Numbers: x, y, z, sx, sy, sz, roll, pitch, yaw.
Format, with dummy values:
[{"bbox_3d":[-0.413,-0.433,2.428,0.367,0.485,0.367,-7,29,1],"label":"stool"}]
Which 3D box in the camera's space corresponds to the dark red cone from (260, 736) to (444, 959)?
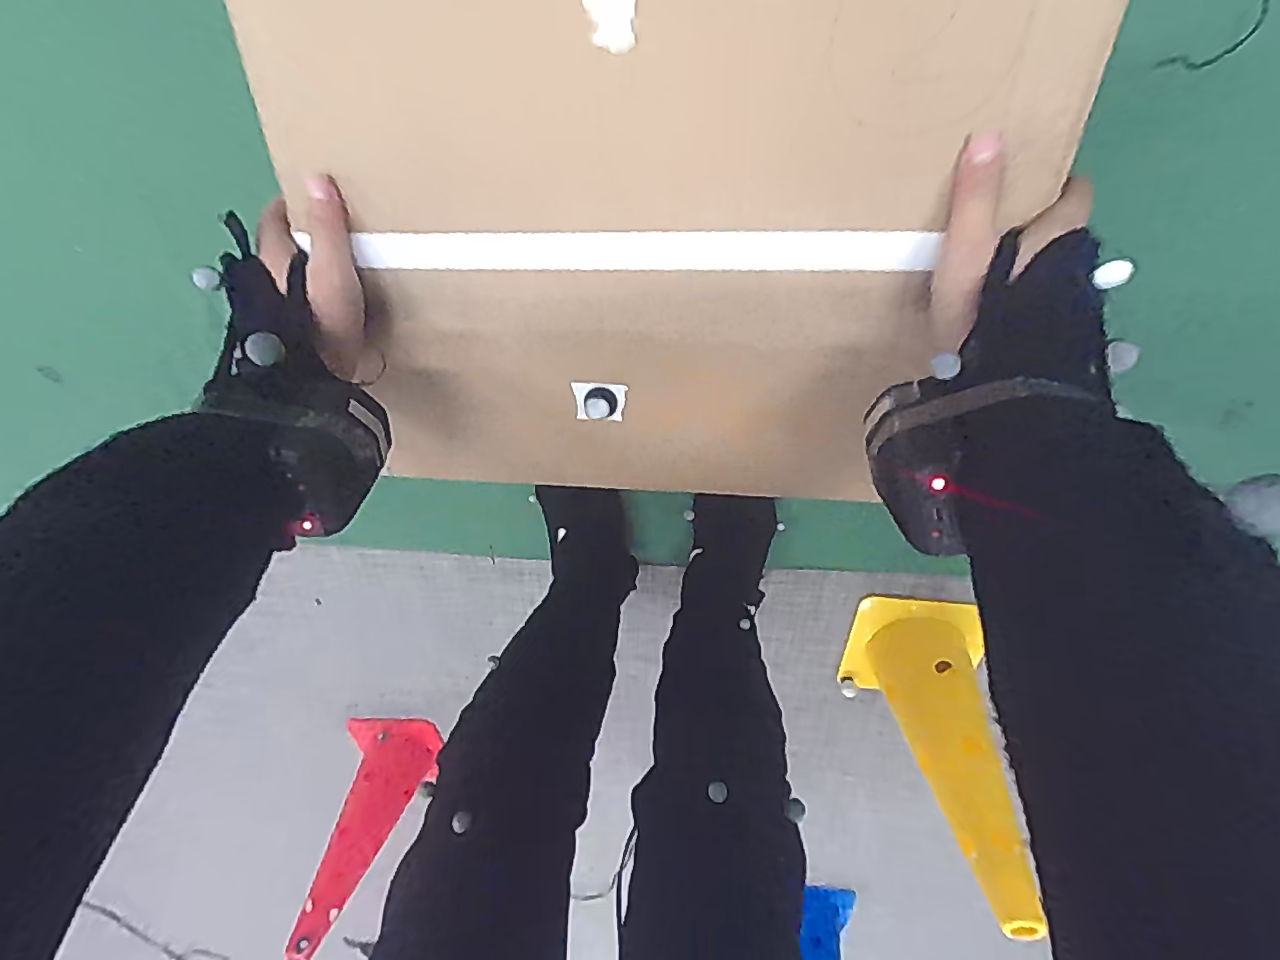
[{"bbox_3d":[-0.534,0.666,0.962,0.202,0.394,0.201,-5,117,11],"label":"dark red cone"}]
